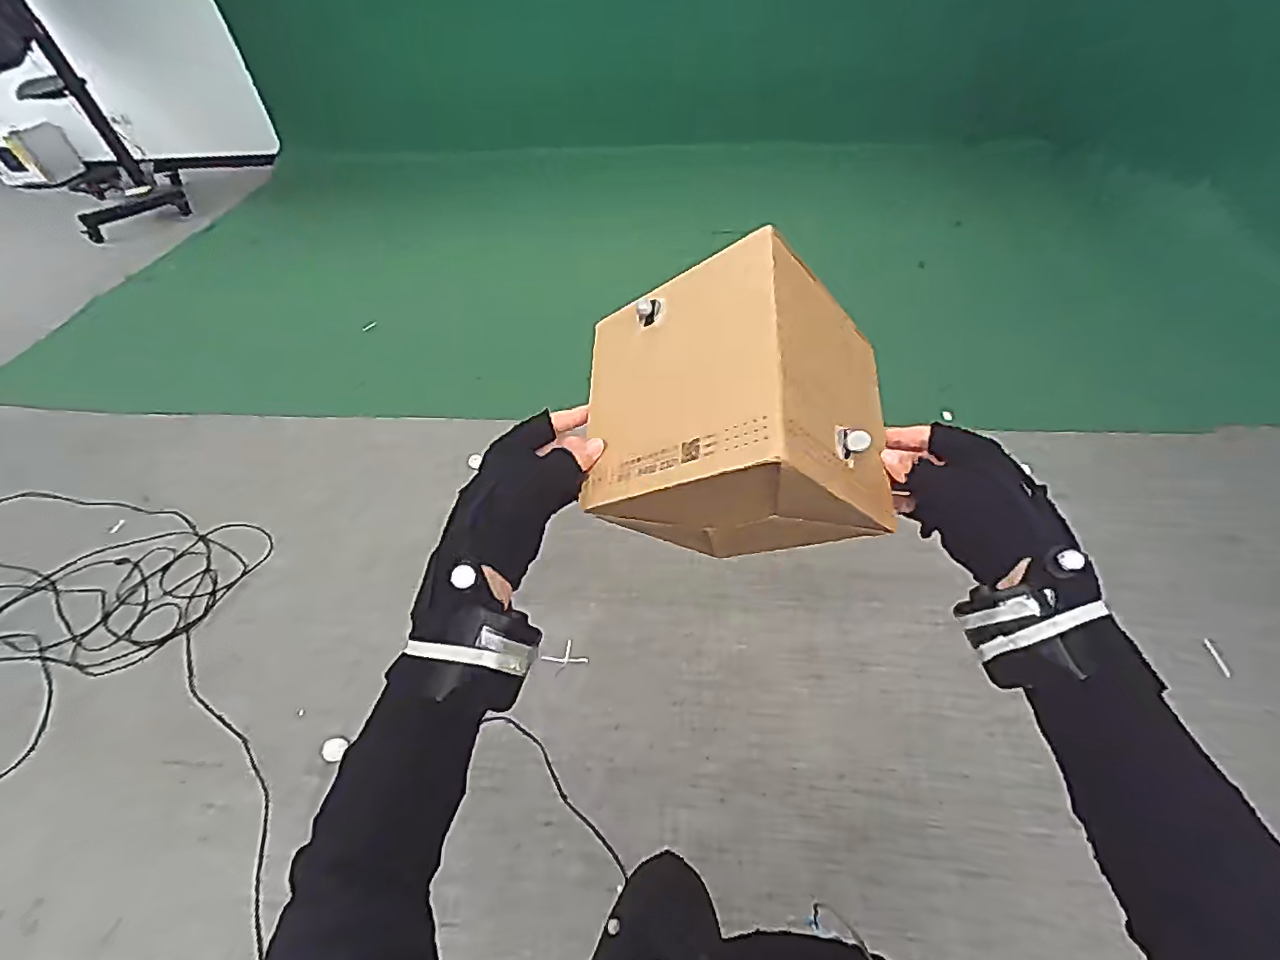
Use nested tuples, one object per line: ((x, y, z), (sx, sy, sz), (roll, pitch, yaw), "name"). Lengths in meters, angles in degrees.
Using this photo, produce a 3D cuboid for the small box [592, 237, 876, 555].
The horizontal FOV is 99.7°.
((0.077, -0.043, 0.435), (0.168, 0.179, 0.176), (-16, 62, 39), "small box")
